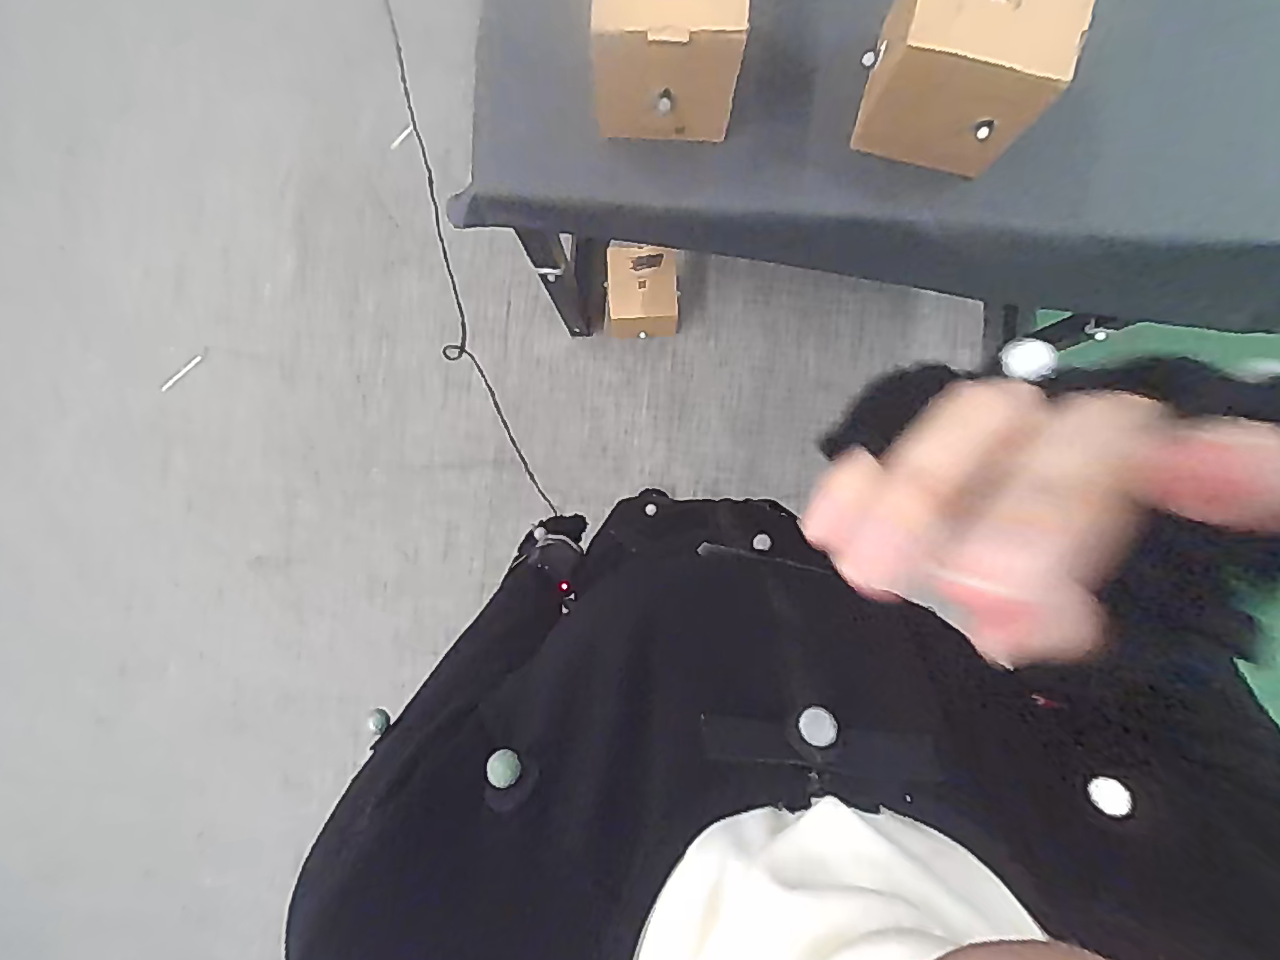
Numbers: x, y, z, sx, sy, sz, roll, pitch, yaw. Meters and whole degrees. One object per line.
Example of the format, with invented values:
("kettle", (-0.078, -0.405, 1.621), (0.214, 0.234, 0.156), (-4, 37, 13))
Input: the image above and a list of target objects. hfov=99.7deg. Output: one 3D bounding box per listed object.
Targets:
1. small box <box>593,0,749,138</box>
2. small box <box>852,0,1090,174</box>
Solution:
("small box", (0.038, -0.546, 0.648), (0.168, 0.176, 0.179), (3, 88, 1))
("small box", (0.383, -0.501, 0.644), (0.179, 0.176, 0.168), (14, 87, 2))
